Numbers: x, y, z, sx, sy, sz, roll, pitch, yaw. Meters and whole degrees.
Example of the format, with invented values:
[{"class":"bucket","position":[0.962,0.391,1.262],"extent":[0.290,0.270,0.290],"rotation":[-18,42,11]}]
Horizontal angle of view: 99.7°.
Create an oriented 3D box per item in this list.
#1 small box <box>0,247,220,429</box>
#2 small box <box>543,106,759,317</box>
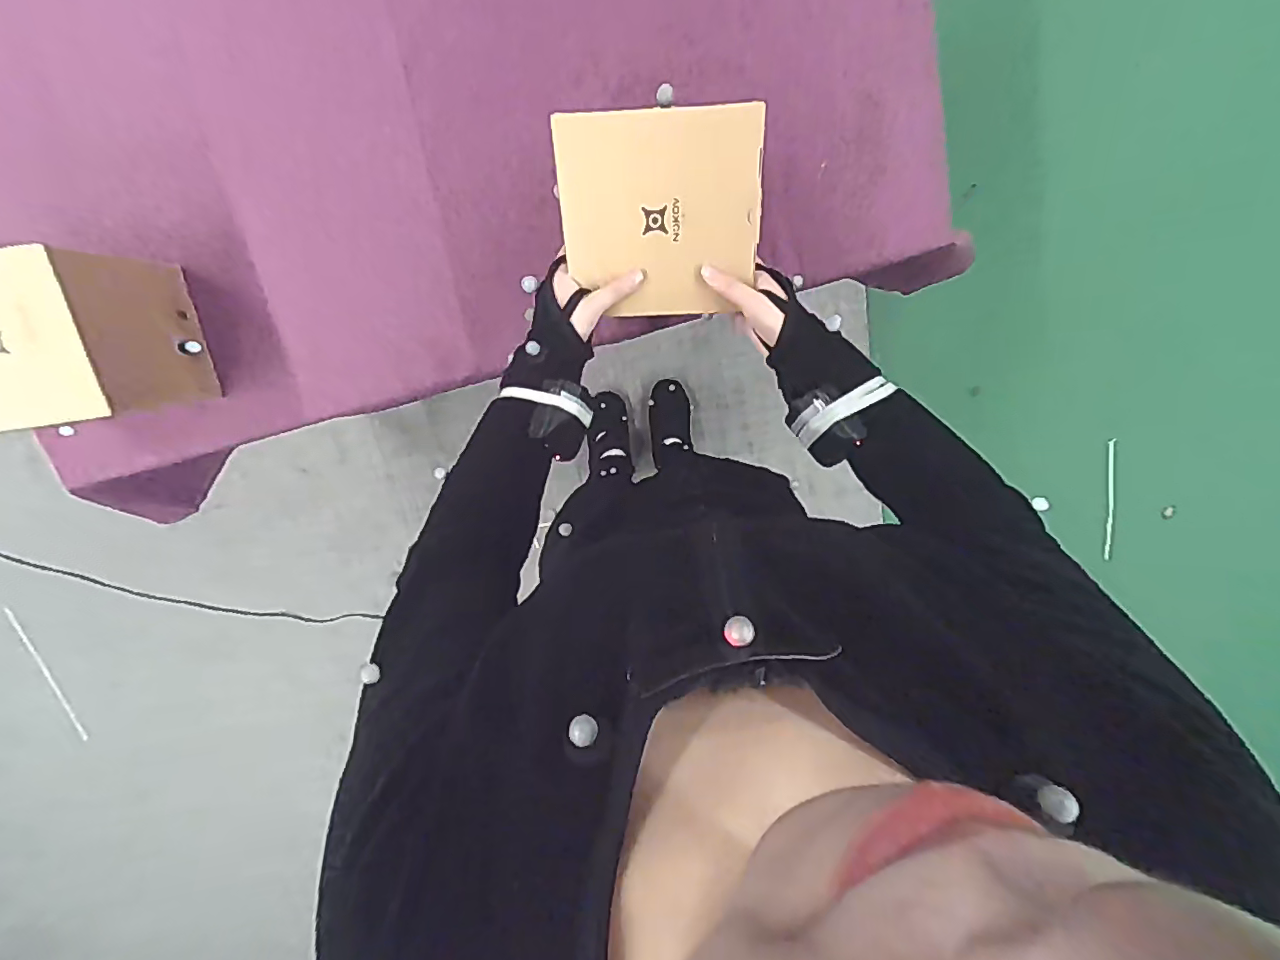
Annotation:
[{"class":"small box","position":[-0.634,-0.152,0.605],"extent":[0.179,0.176,0.168],"rotation":[-8,106,0]},{"class":"small box","position":[0.012,-0.268,0.540],"extent":[0.179,0.176,0.168],"rotation":[-2,123,2]}]
